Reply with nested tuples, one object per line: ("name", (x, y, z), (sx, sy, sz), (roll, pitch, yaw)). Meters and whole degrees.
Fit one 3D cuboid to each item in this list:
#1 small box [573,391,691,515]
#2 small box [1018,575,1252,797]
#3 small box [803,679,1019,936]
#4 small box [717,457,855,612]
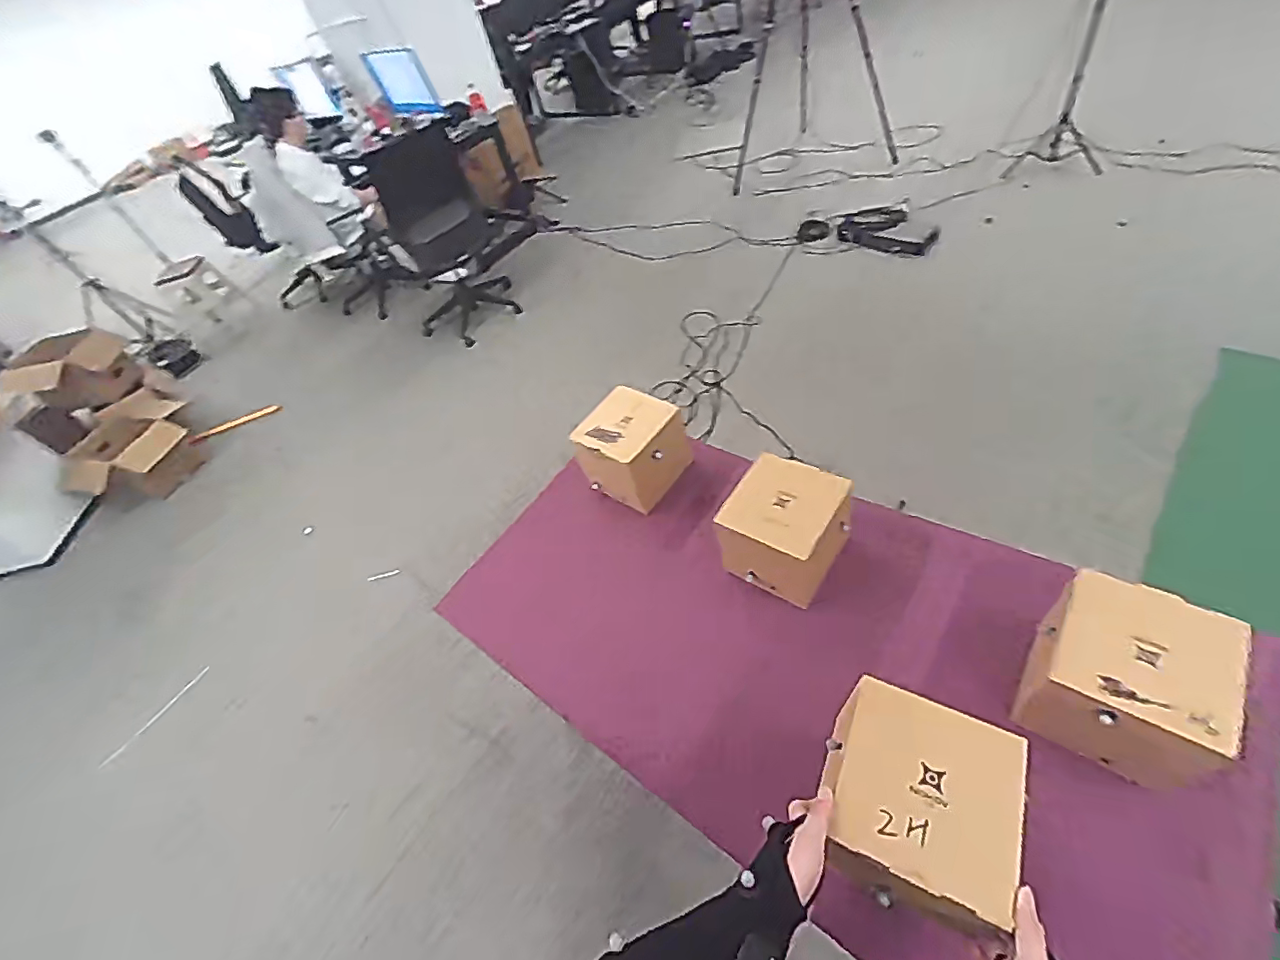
("small box", (-0.008, -0.056, 1.156), (0.168, 0.176, 0.179), (26, 62, 33))
("small box", (0.615, 0.261, 0.690), (0.168, 0.176, 0.179), (22, 59, 33))
("small box", (0.290, 0.360, 0.601), (0.168, 0.176, 0.179), (17, 56, 21))
("small box", (0.256, 0.095, 0.949), (0.168, 0.176, 0.179), (24, 60, 33))
